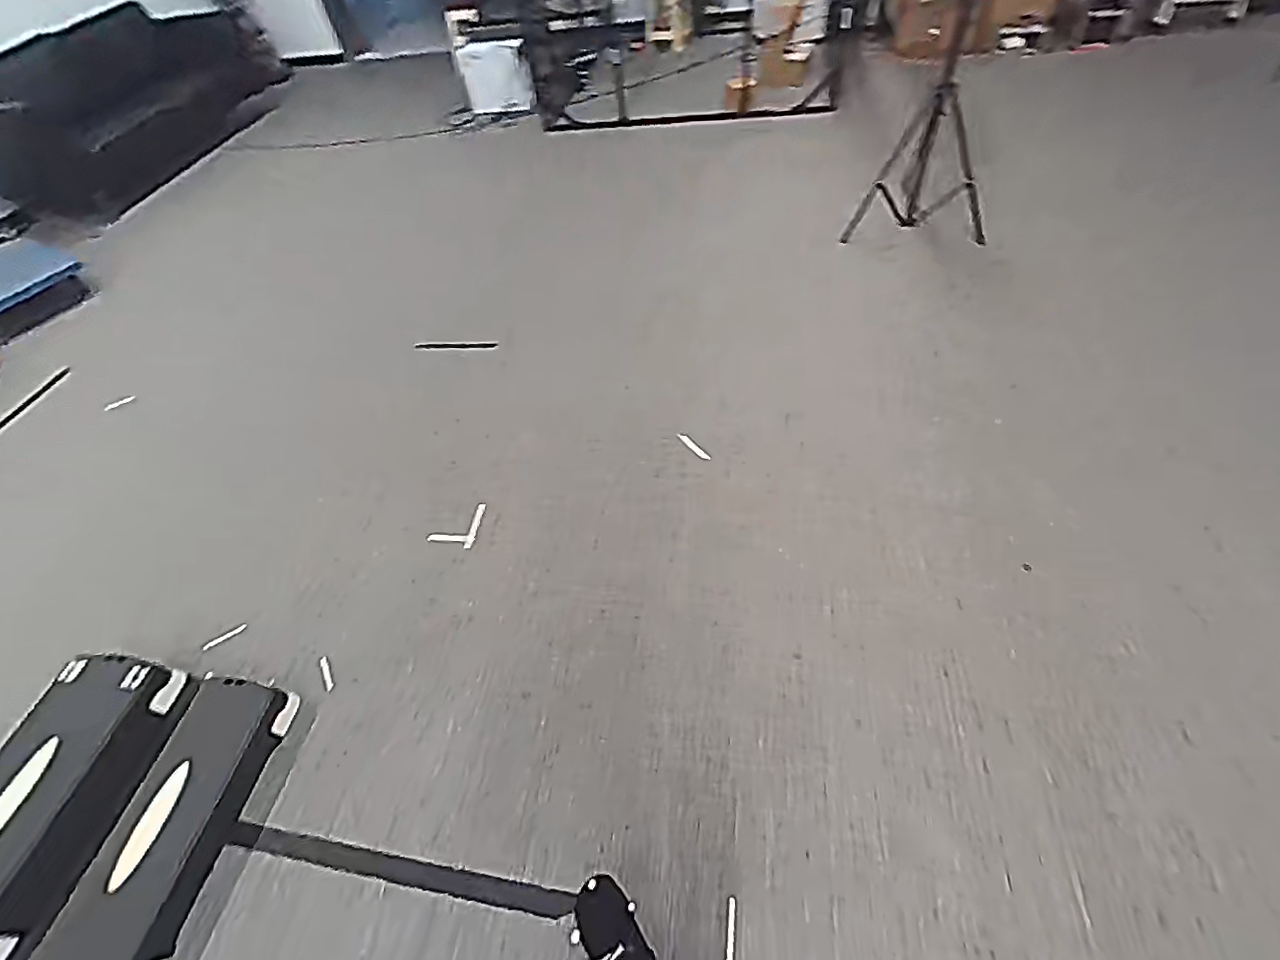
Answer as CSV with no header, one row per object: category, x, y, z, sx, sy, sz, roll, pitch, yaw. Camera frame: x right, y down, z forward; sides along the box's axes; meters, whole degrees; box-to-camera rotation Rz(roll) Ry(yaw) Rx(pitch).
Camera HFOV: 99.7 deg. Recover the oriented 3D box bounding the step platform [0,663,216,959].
step platform,-1.381,0.796,1.288,0.286,0.204,0.684,3,51,10
